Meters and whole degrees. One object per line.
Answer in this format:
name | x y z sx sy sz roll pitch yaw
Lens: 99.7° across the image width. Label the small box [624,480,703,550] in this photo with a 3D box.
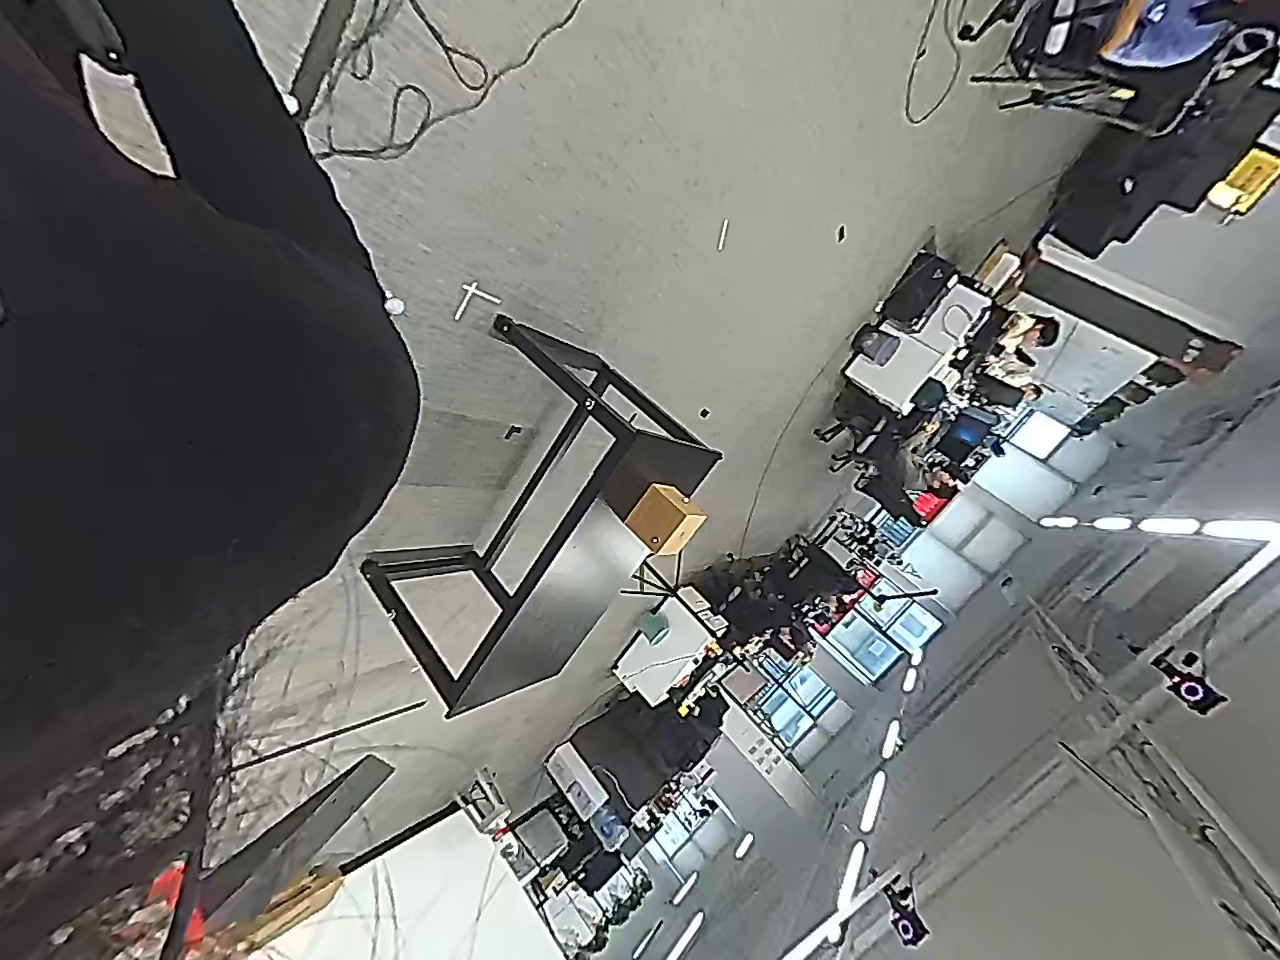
small box | 0.076 0.116 1.831 0.179 0.176 0.168 -54 154 15
